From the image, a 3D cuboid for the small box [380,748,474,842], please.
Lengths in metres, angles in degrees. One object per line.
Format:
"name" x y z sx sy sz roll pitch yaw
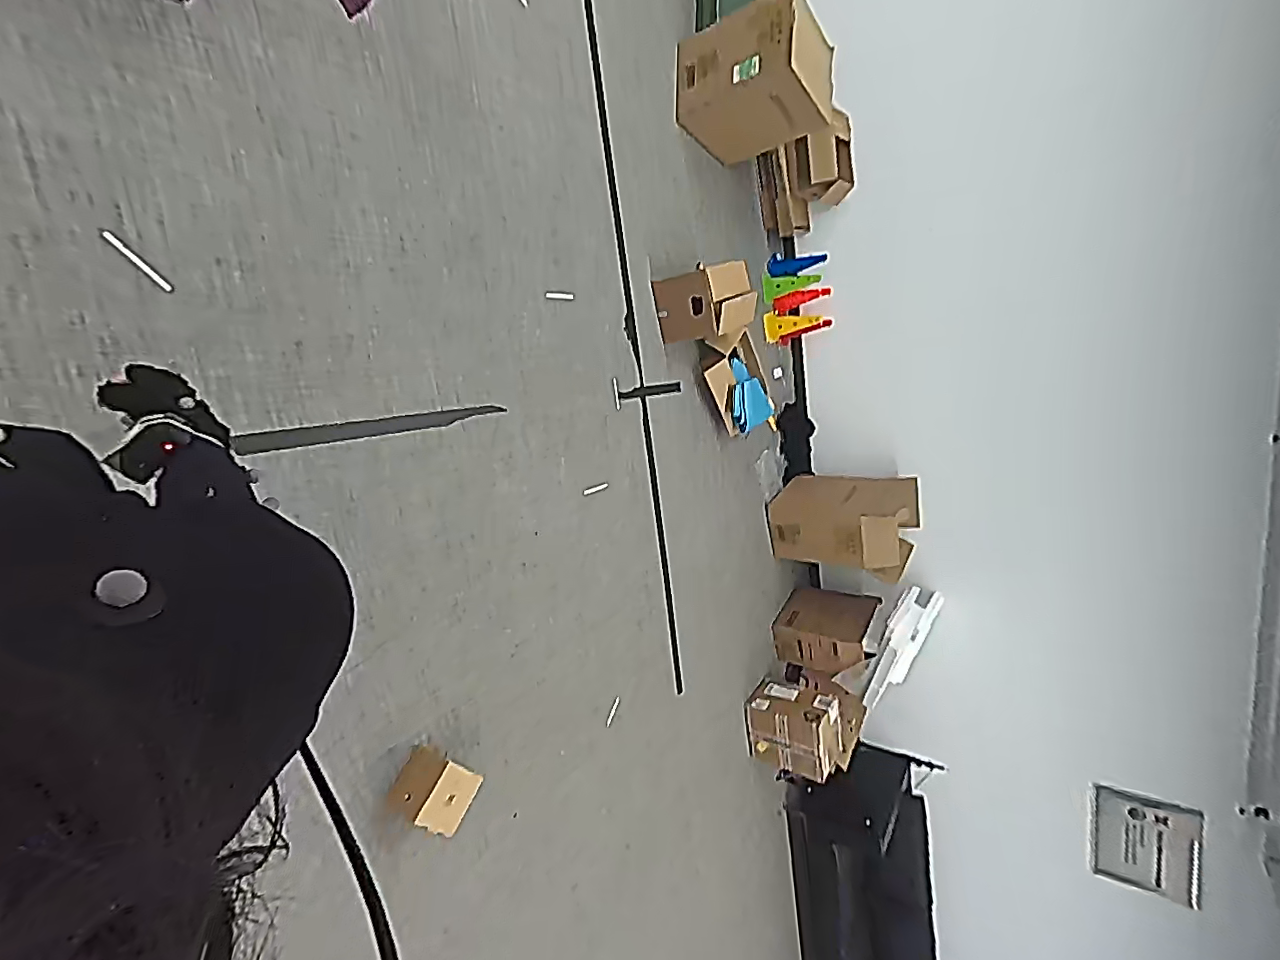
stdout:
"small box" -0.645 0.943 1.626 0.168 0.176 0.179 57 48 -38
